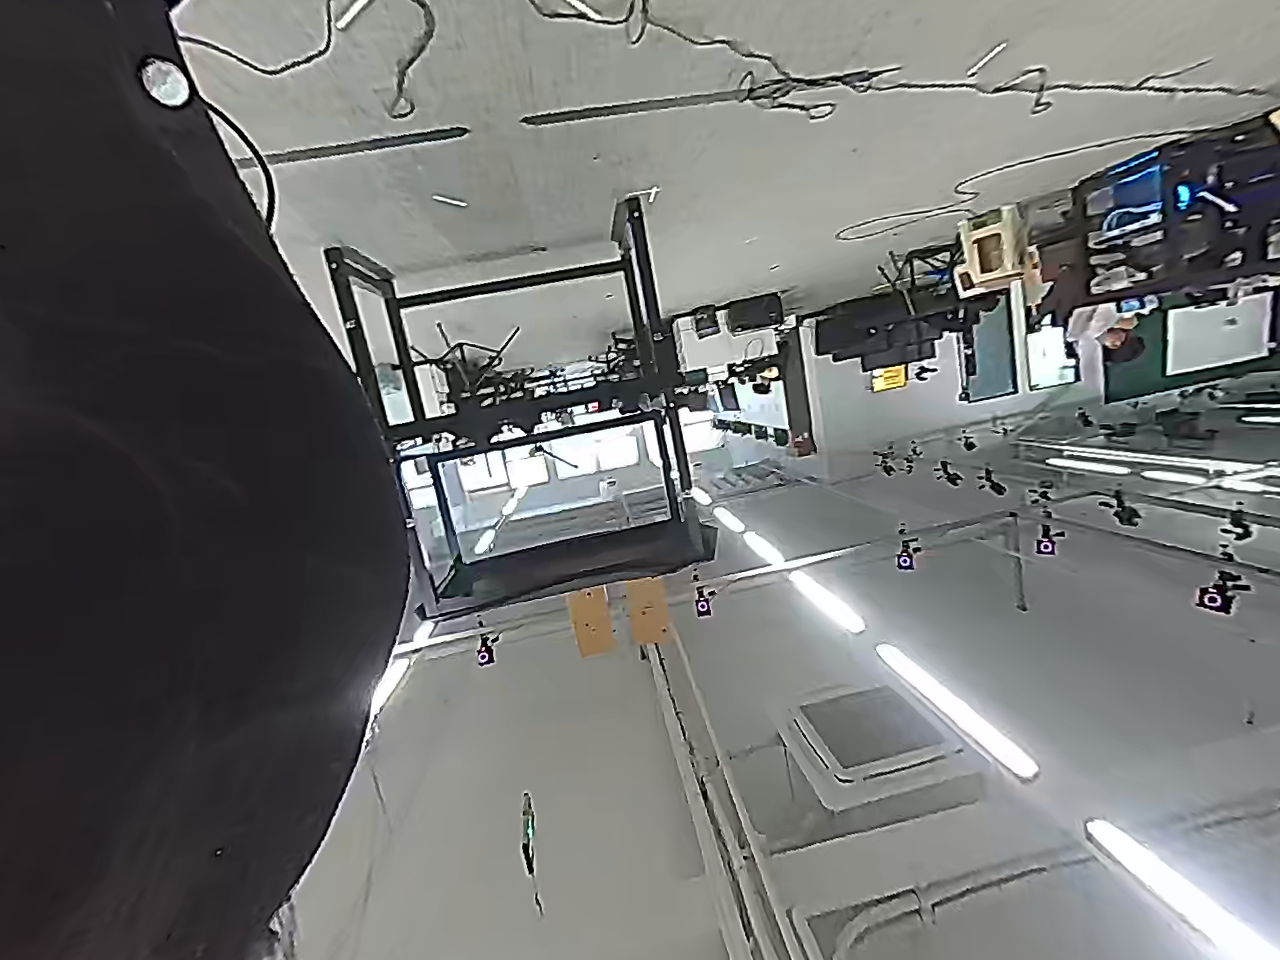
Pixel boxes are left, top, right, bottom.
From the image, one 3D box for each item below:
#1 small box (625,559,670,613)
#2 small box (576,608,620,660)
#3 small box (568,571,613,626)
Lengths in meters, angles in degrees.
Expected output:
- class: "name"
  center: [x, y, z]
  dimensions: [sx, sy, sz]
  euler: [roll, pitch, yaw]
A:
- class: "small box"
  center: [0.031, 0.465, 2.394]
  dimensions: [0.168, 0.176, 0.179]
  euler: [-10, -168, -2]
- class: "small box"
  center: [-0.192, 0.674, 2.418]
  dimensions: [0.168, 0.176, 0.179]
  euler: [-12, -170, -5]
- class: "small box"
  center: [-0.220, 0.515, 2.384]
  dimensions: [0.168, 0.176, 0.179]
  euler: [-12, -169, -4]
